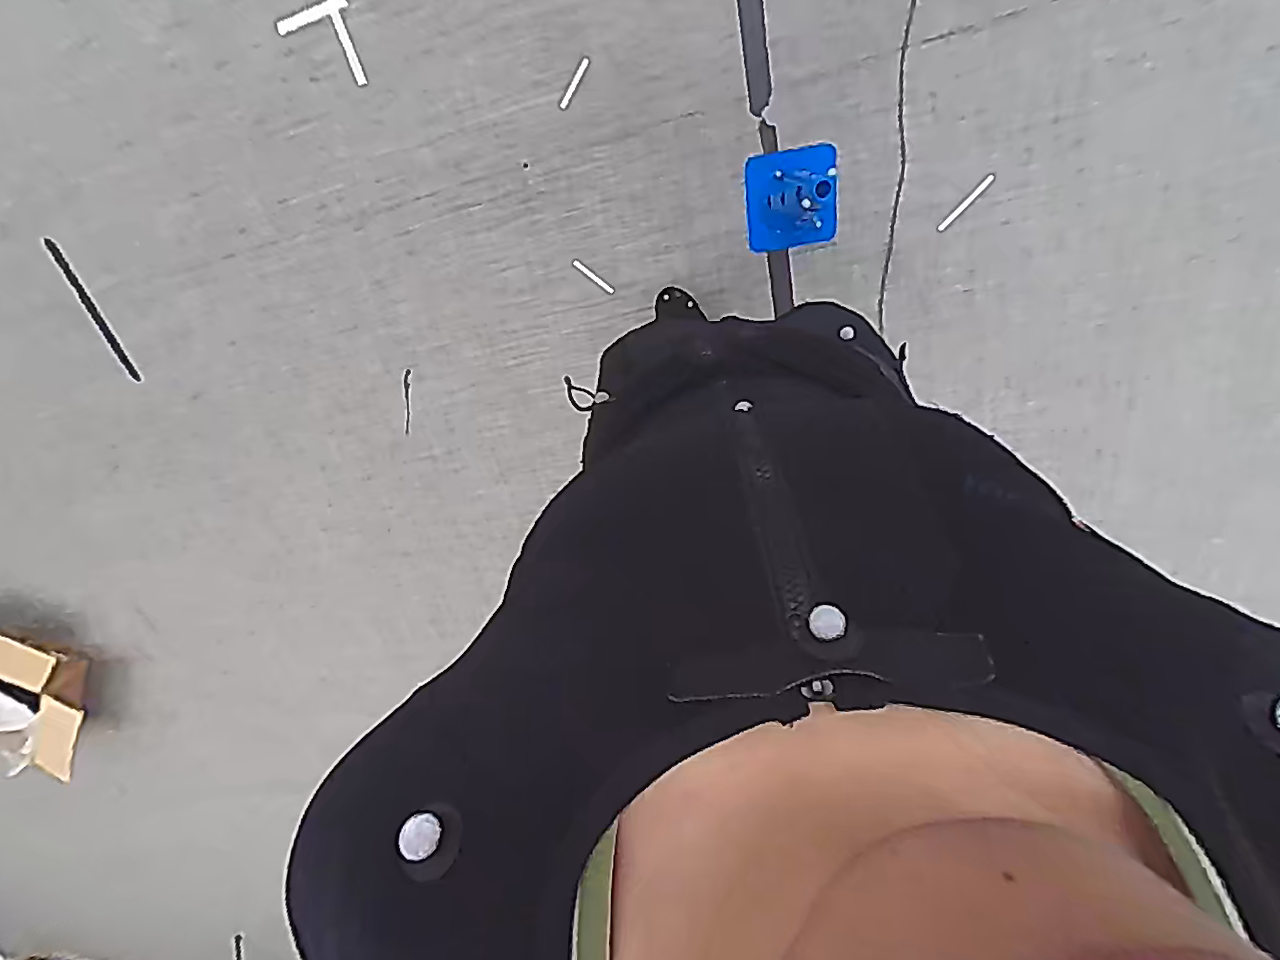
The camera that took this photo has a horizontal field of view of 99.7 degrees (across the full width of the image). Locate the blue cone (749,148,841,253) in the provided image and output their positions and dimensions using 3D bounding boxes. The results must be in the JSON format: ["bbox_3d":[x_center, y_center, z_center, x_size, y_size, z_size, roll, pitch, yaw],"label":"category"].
[{"bbox_3d":[0.329,-0.557,1.062,0.193,0.380,0.192,-7,113,8],"label":"blue cone"}]
